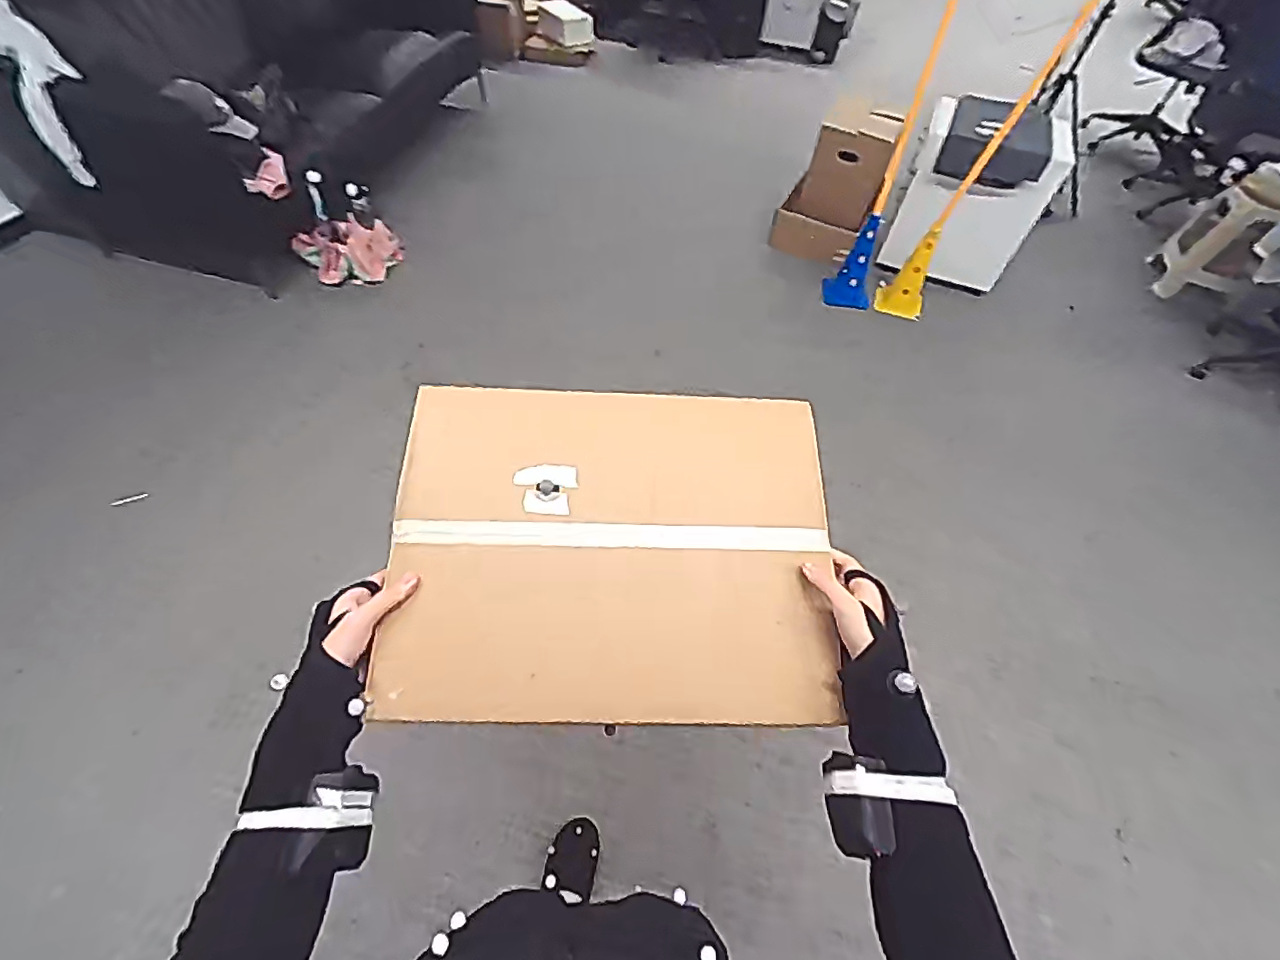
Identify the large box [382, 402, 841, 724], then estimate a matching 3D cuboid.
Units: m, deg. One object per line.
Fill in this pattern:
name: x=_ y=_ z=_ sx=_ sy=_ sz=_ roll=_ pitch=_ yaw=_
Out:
large box: x=-0.026 y=0.118 z=0.657 sx=0.408 sy=0.320 sz=0.320 roll=2 pitch=67 yaw=-2
